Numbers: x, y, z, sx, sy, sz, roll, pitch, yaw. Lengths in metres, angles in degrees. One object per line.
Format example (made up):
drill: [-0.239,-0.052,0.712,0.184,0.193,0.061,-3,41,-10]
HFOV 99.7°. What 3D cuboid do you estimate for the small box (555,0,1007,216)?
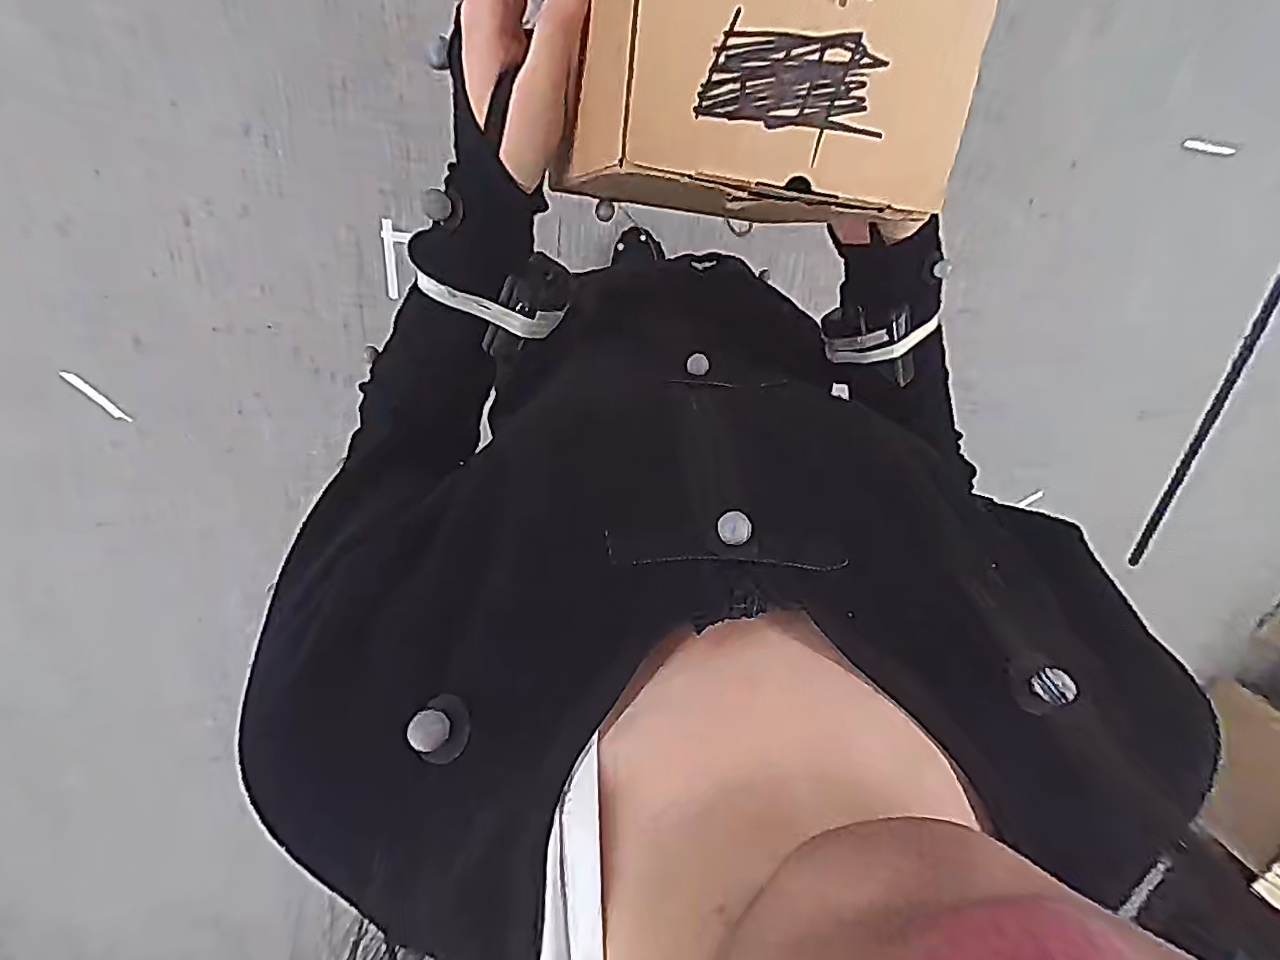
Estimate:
small box: [0.055,-0.240,0.275,0.168,0.176,0.179,-2,114,-20]
